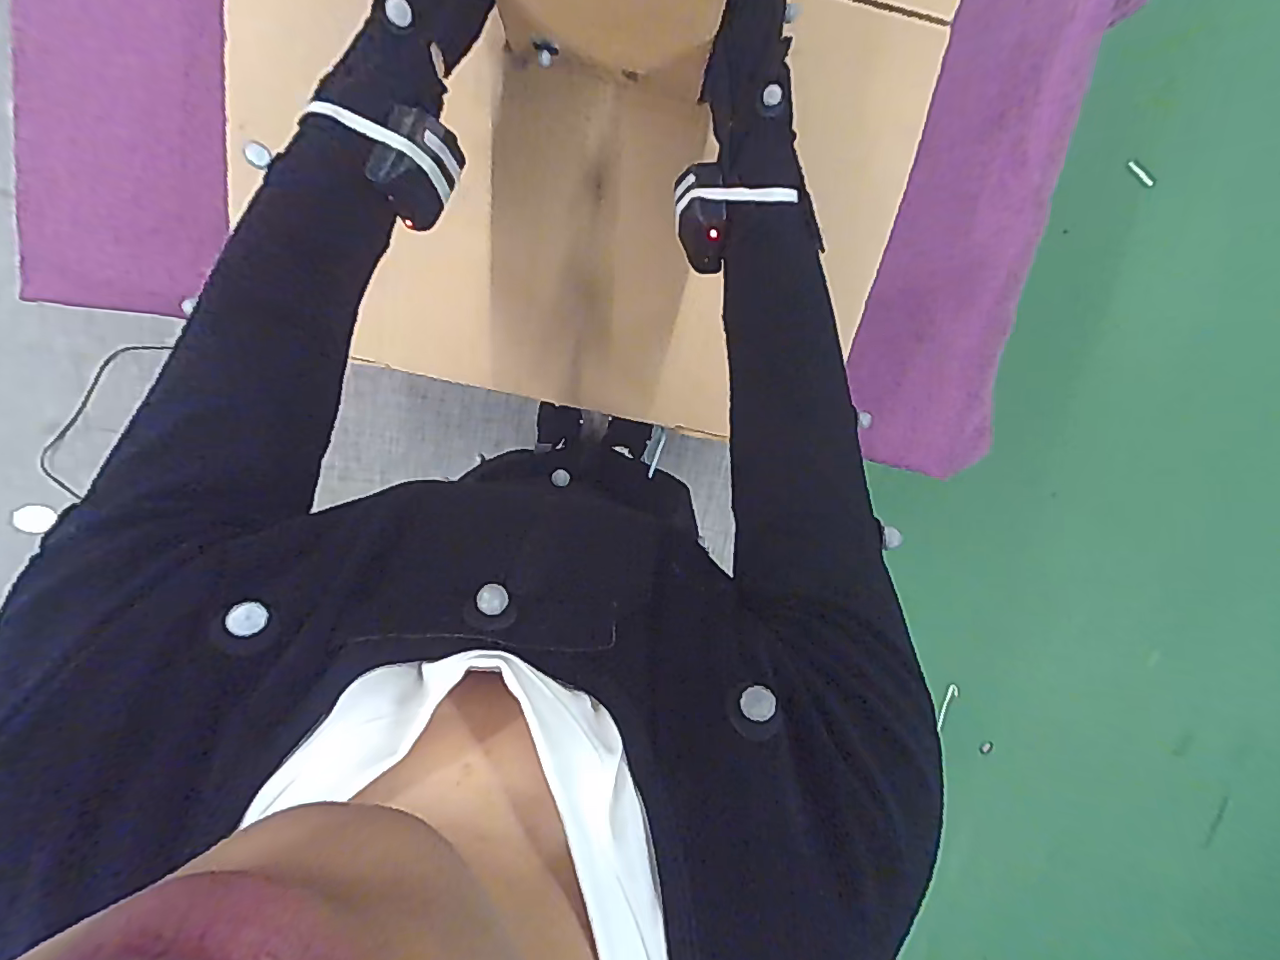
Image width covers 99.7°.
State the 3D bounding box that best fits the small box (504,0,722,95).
[{"bbox_3d":[-0.008,-0.418,0.381,0.168,0.176,0.179,12,99,-5],"label":"small box"}]
